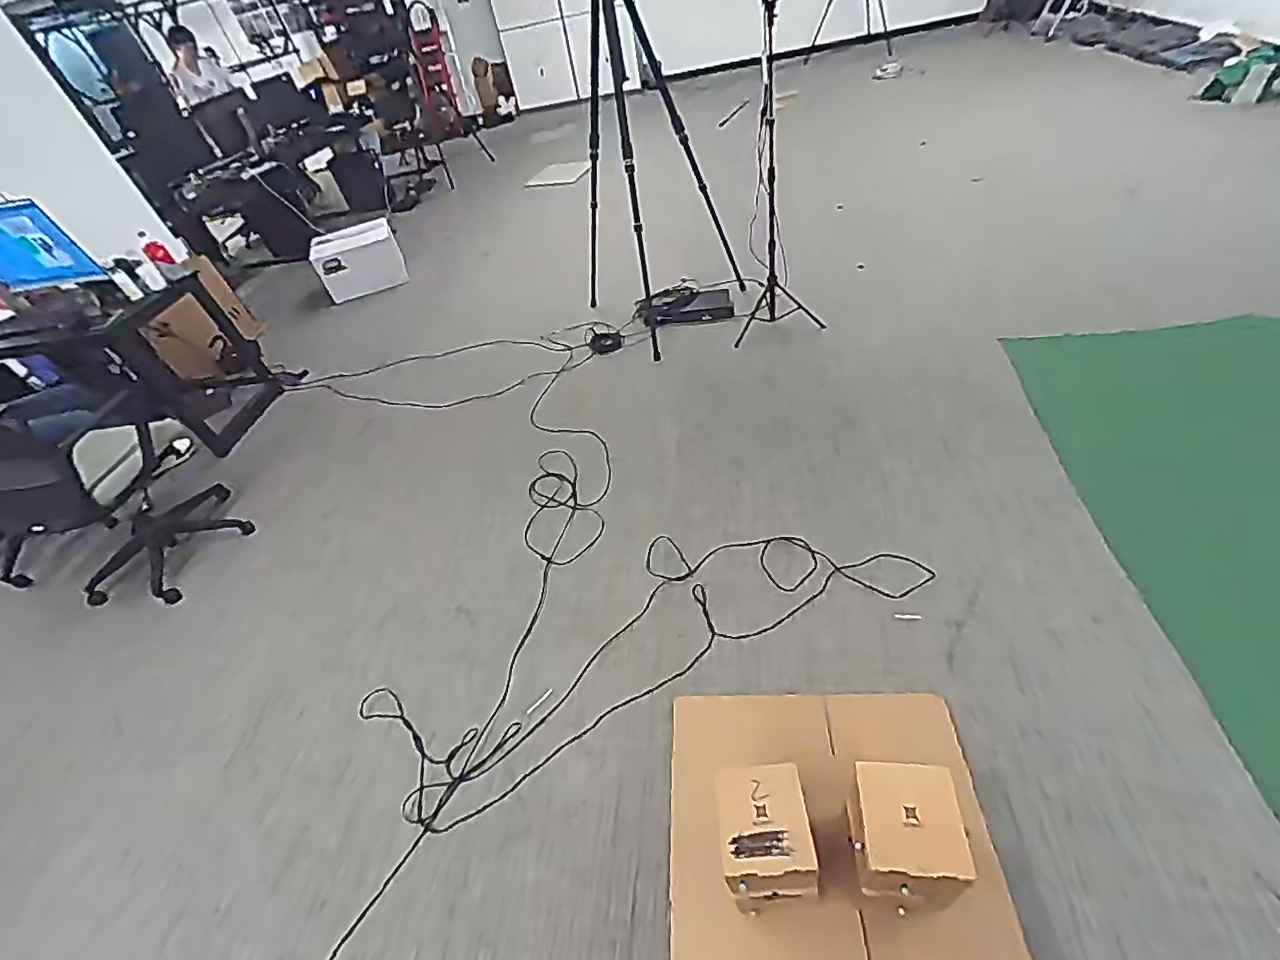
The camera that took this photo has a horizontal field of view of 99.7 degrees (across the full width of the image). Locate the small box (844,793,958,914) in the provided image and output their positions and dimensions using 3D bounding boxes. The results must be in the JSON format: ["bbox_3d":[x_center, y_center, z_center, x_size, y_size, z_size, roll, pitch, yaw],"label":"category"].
[{"bbox_3d":[0.522,0.766,1.111,0.168,0.176,0.179,-6,45,11],"label":"small box"}]

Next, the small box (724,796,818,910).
[{"bbox_3d":[0.275,0.794,1.146,0.168,0.176,0.179,-8,44,7],"label":"small box"}]

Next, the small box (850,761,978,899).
[{"bbox_3d":[0.493,0.648,1.003,0.168,0.176,0.179,-3,46,13],"label":"small box"}]
